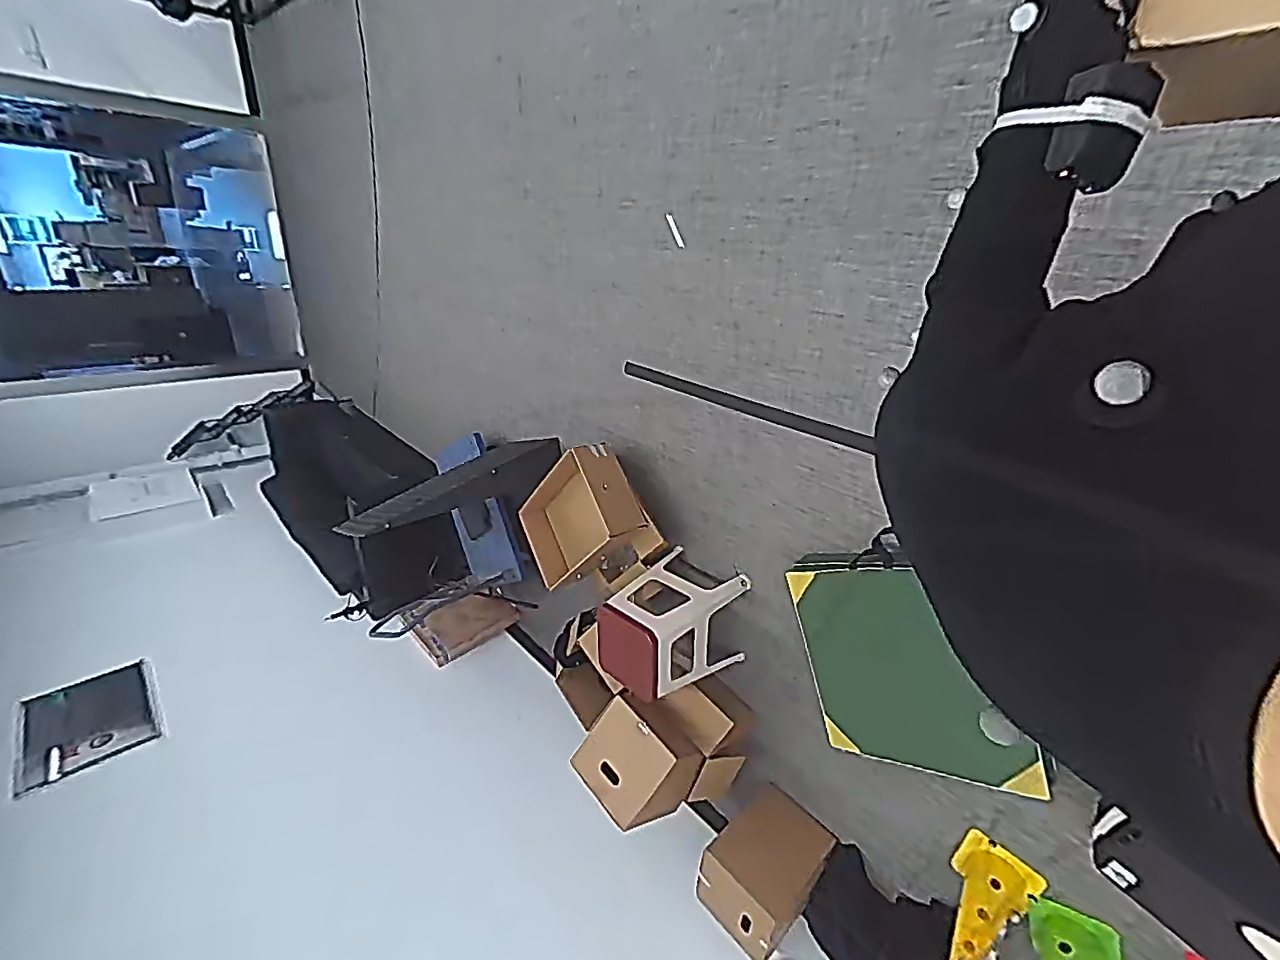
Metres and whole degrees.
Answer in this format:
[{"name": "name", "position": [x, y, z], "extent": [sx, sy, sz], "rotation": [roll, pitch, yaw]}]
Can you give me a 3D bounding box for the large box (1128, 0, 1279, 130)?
[{"name": "large box", "position": [0.584, -0.417, 0.290], "extent": [0.408, 0.320, 0.320], "rotation": [23, 122, 41]}]
